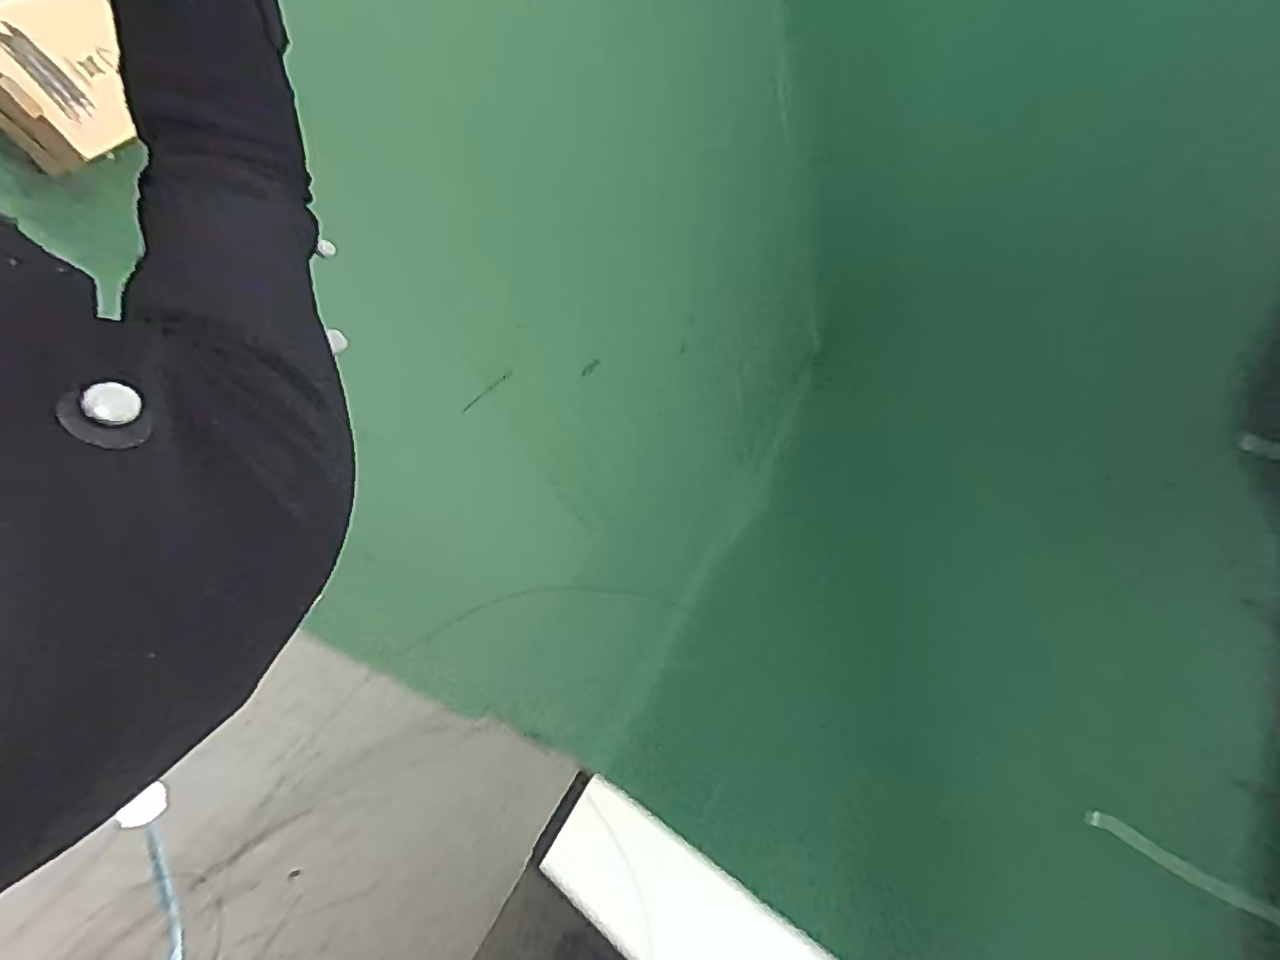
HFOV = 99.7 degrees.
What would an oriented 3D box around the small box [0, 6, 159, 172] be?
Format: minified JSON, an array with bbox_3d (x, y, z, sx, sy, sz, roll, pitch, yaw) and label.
[{"bbox_3d":[-0.965,-0.634,0.894,0.179,0.176,0.168,-53,140,-25],"label":"small box"}]
